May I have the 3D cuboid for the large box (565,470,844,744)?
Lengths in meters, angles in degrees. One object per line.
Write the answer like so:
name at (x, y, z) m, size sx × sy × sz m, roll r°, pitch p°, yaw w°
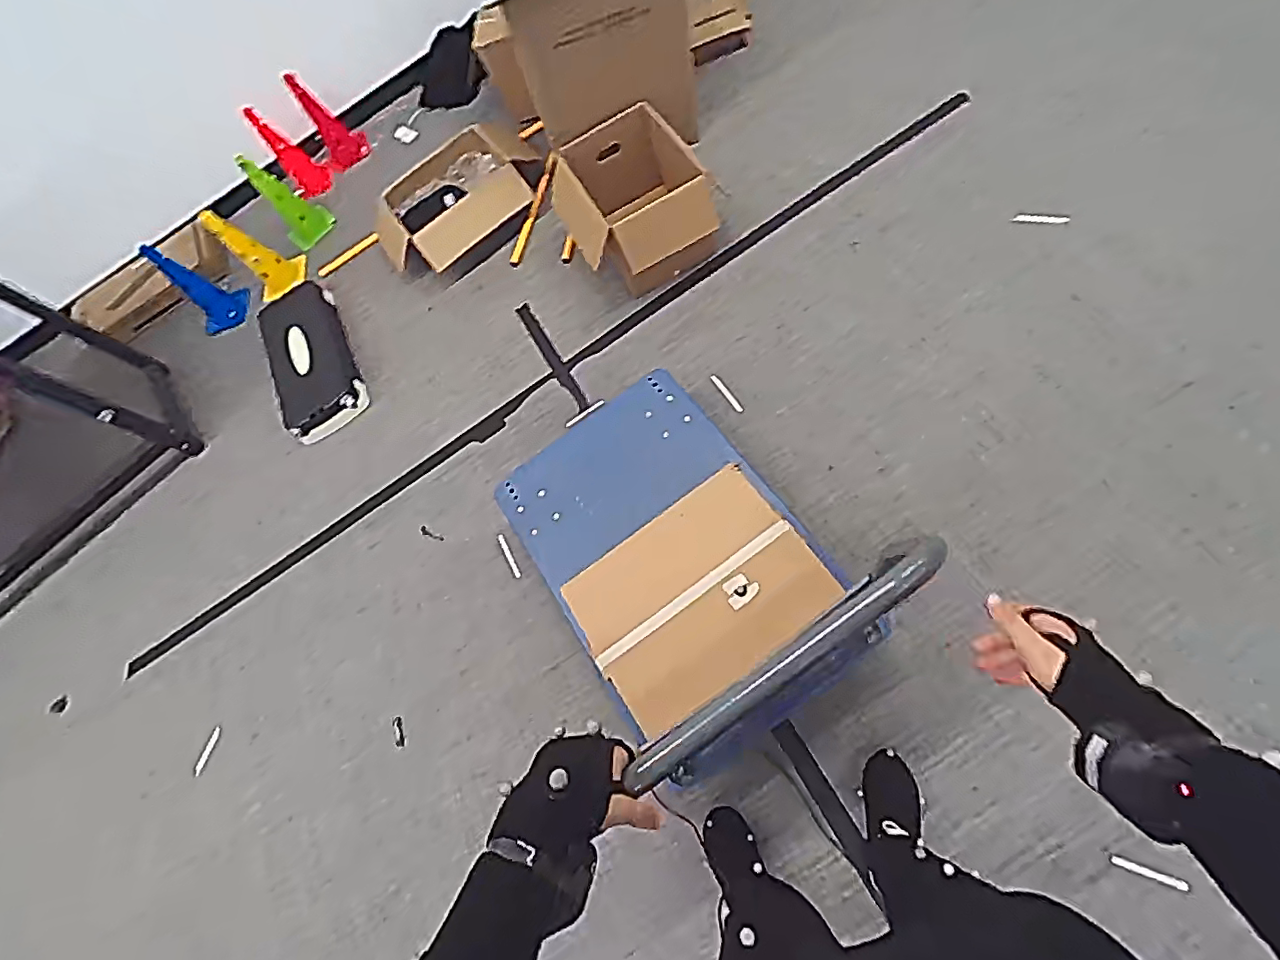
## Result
large box at (0.132, 0.261, 1.079) m, size 0.408 × 0.320 × 0.320 m, roll -36°, pitch 65°, yaw -2°
